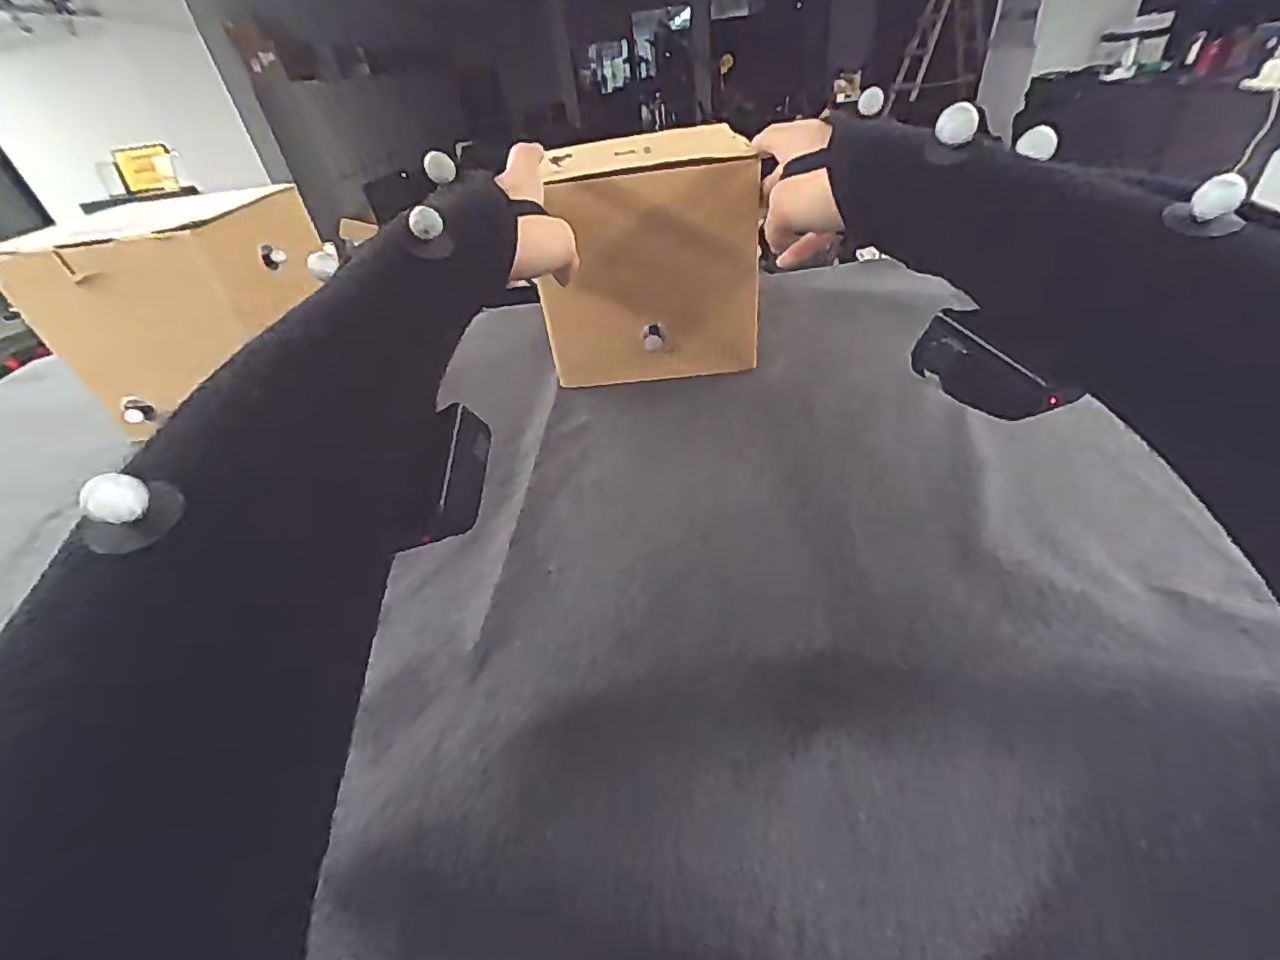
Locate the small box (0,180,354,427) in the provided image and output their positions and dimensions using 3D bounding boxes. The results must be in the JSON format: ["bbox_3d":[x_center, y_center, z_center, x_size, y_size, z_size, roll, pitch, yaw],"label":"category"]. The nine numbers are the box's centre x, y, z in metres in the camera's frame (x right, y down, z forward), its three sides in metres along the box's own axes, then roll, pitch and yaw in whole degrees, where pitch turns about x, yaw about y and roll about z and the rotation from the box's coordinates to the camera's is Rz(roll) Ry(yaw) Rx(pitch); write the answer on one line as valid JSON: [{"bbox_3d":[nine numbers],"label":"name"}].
[{"bbox_3d":[-0.402,-0.160,0.505,0.168,0.176,0.179,-7,38,1],"label":"small box"}]

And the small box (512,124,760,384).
[{"bbox_3d":[0.003,-0.201,0.485,0.179,0.176,0.168,-5,38,4],"label":"small box"}]
